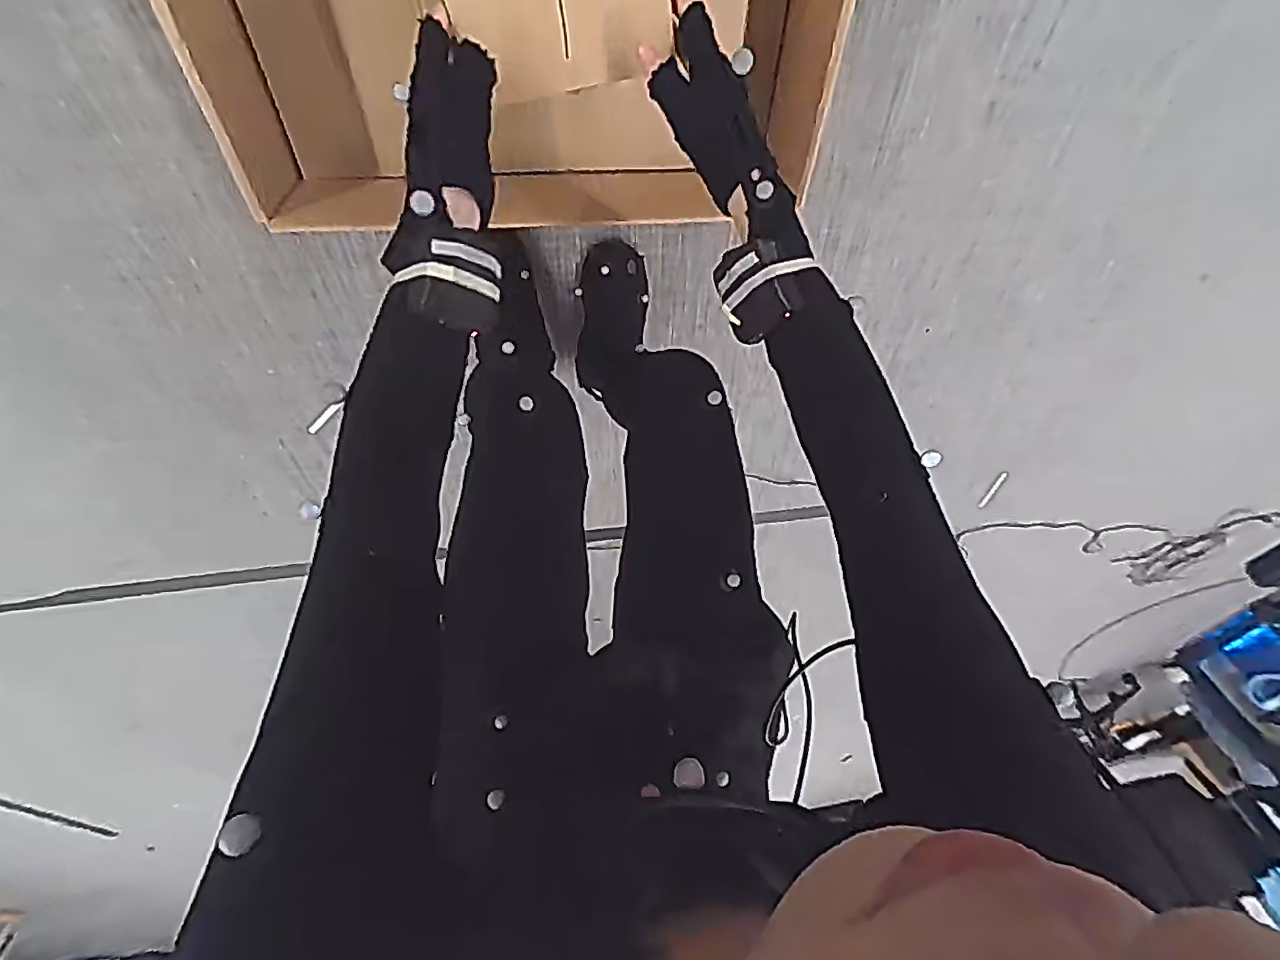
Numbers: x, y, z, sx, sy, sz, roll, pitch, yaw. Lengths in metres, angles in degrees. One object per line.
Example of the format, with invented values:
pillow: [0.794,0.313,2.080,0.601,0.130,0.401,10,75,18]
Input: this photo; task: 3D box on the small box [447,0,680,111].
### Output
small box: [-0.069,-0.424,0.429,0.168,0.176,0.179,-10,134,3]
